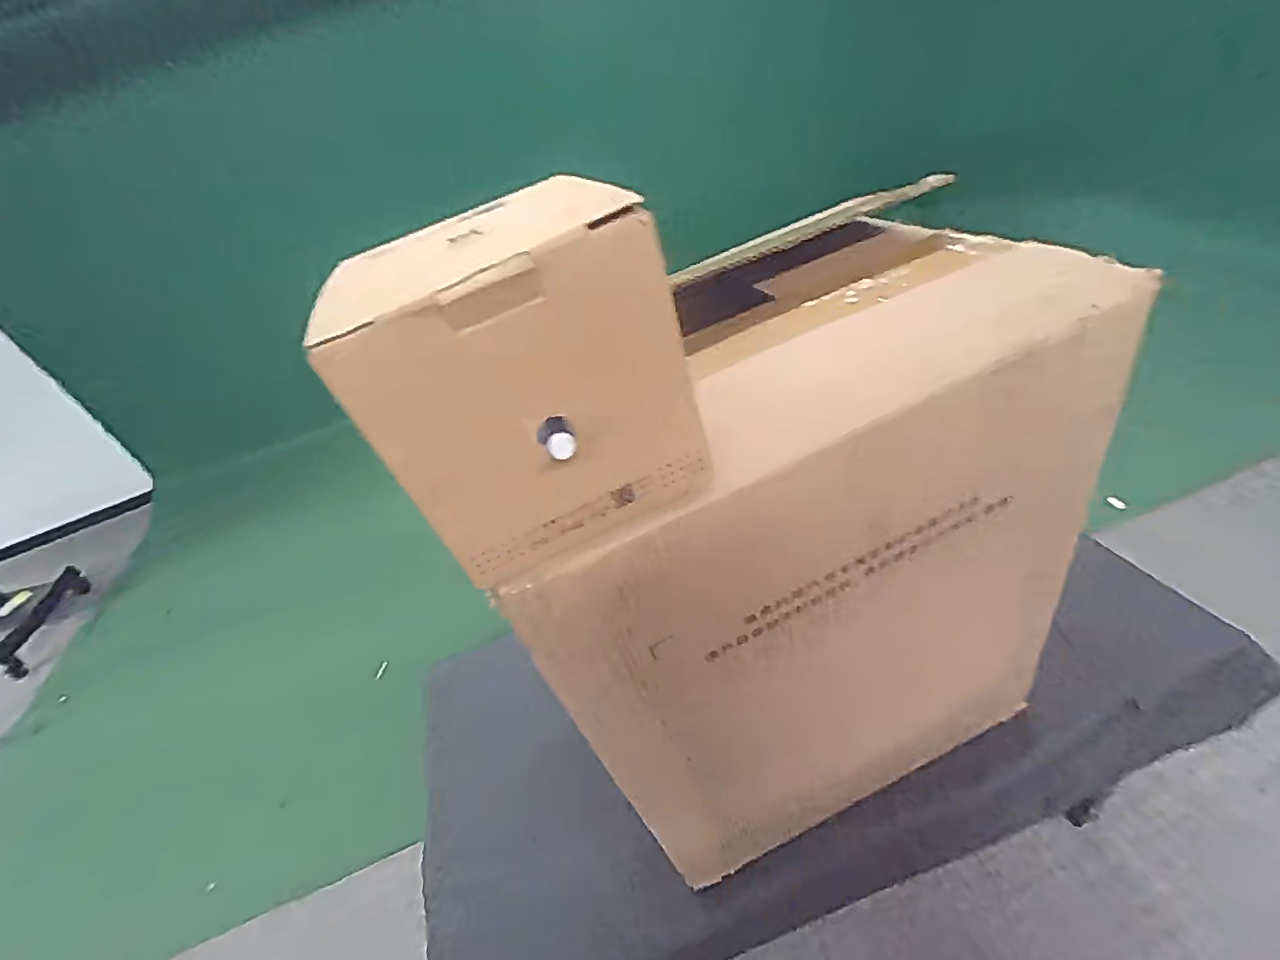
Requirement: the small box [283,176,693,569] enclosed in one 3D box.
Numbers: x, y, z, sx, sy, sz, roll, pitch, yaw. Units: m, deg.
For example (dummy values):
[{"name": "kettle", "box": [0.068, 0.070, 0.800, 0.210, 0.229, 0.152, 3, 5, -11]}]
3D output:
[{"name": "small box", "box": [-0.083, -0.067, 0.348, 0.168, 0.176, 0.179, -25, 39, -6]}]
